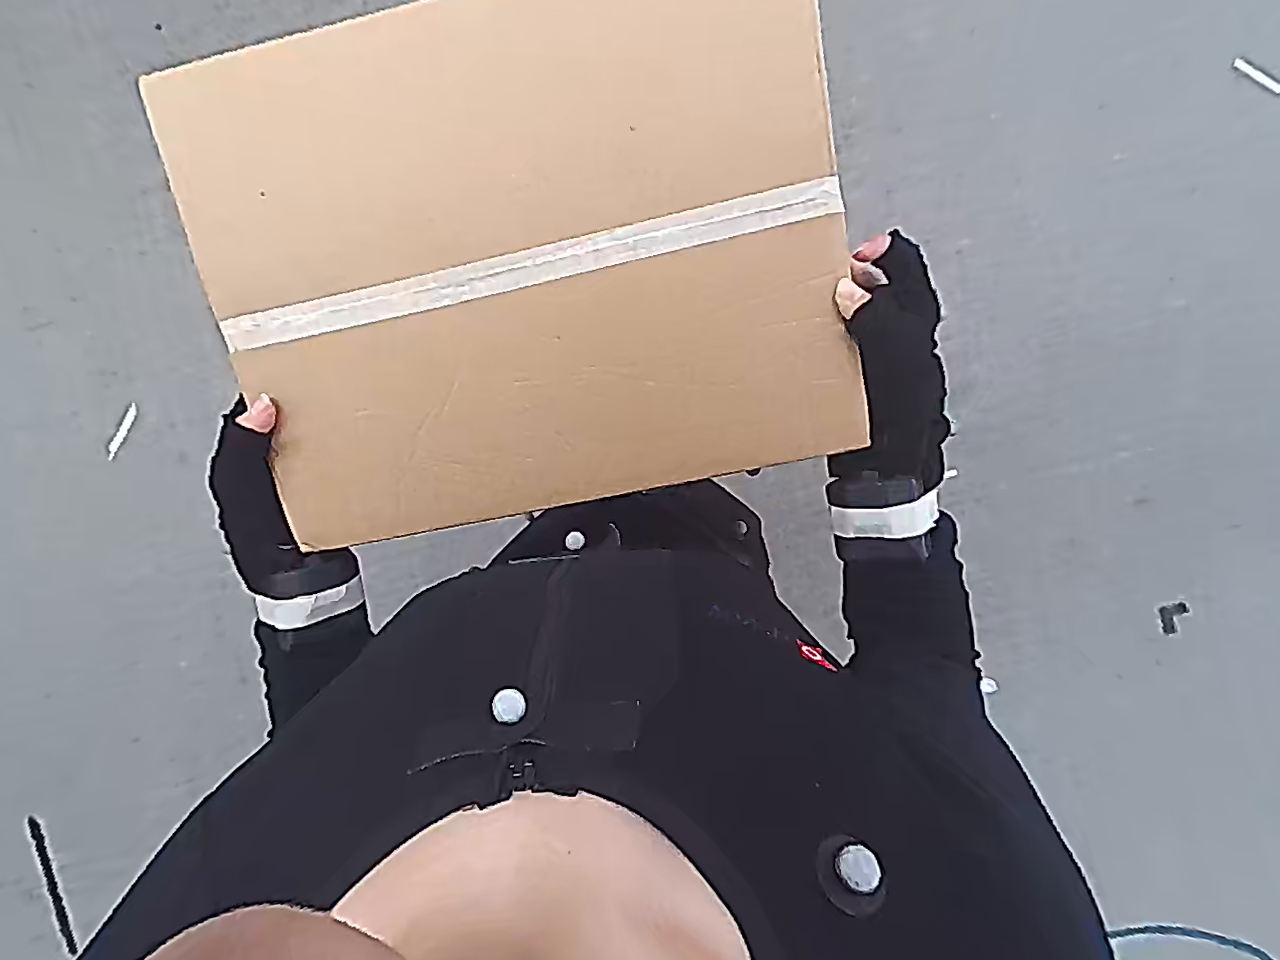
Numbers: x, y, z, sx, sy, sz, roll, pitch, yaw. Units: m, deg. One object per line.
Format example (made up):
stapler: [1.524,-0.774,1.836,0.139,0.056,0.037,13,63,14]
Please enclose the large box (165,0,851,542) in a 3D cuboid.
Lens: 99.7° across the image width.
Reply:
large box: [-0.071,-0.170,0.500,0.408,0.320,0.320,-11,101,5]
